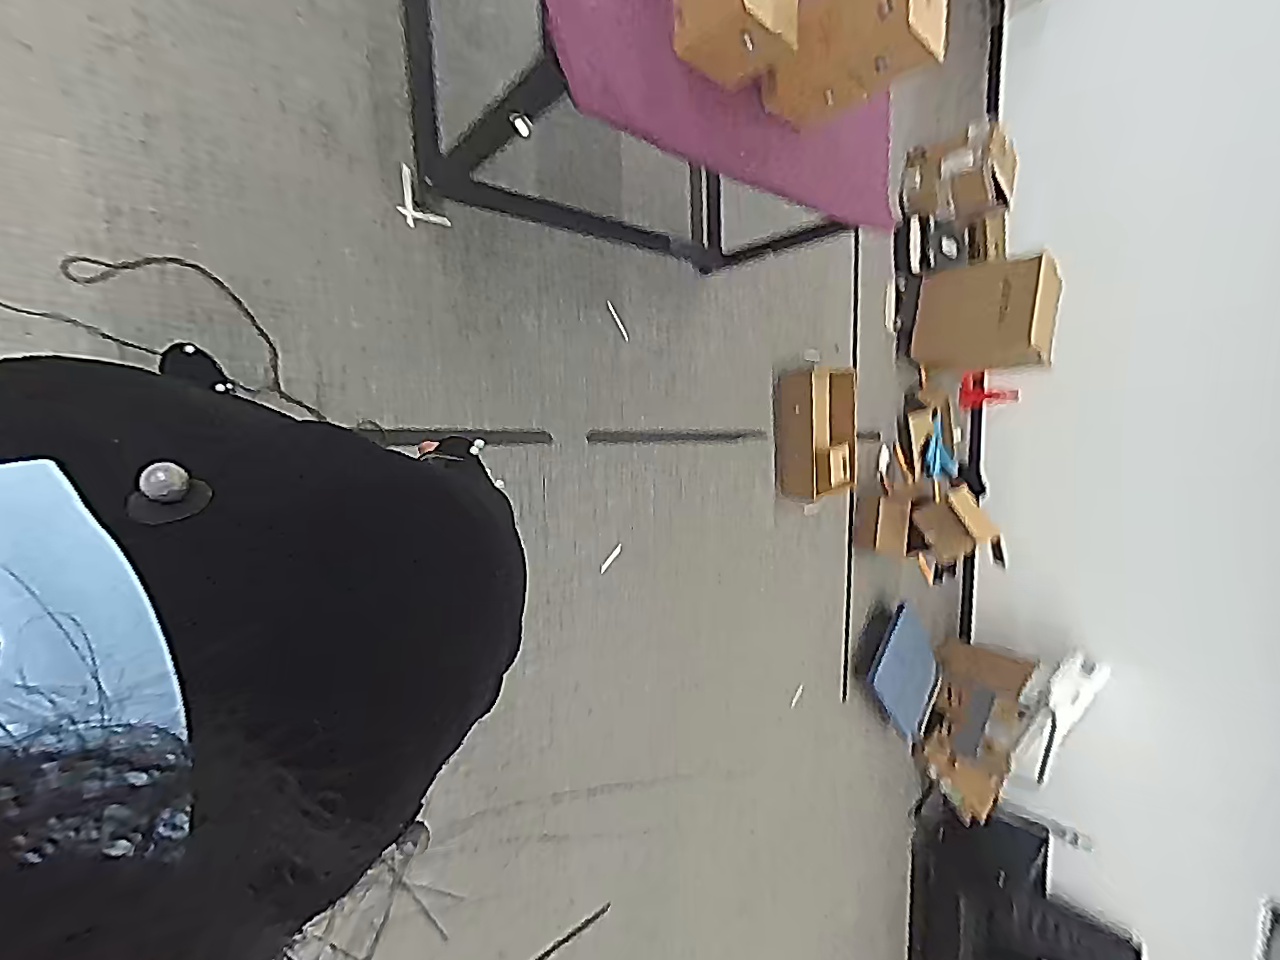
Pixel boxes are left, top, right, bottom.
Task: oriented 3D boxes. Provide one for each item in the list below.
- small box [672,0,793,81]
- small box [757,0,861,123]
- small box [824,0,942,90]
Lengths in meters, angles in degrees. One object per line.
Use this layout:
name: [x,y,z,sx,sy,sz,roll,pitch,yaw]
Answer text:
small box: [0.175,-0.919,1.042,0.179,0.176,0.168,-6,98,-42]
small box: [0.388,-0.950,1.230,0.179,0.176,0.168,-5,98,-41]
small box: [0.492,-0.946,1.102,0.168,0.176,0.179,-5,97,-41]
